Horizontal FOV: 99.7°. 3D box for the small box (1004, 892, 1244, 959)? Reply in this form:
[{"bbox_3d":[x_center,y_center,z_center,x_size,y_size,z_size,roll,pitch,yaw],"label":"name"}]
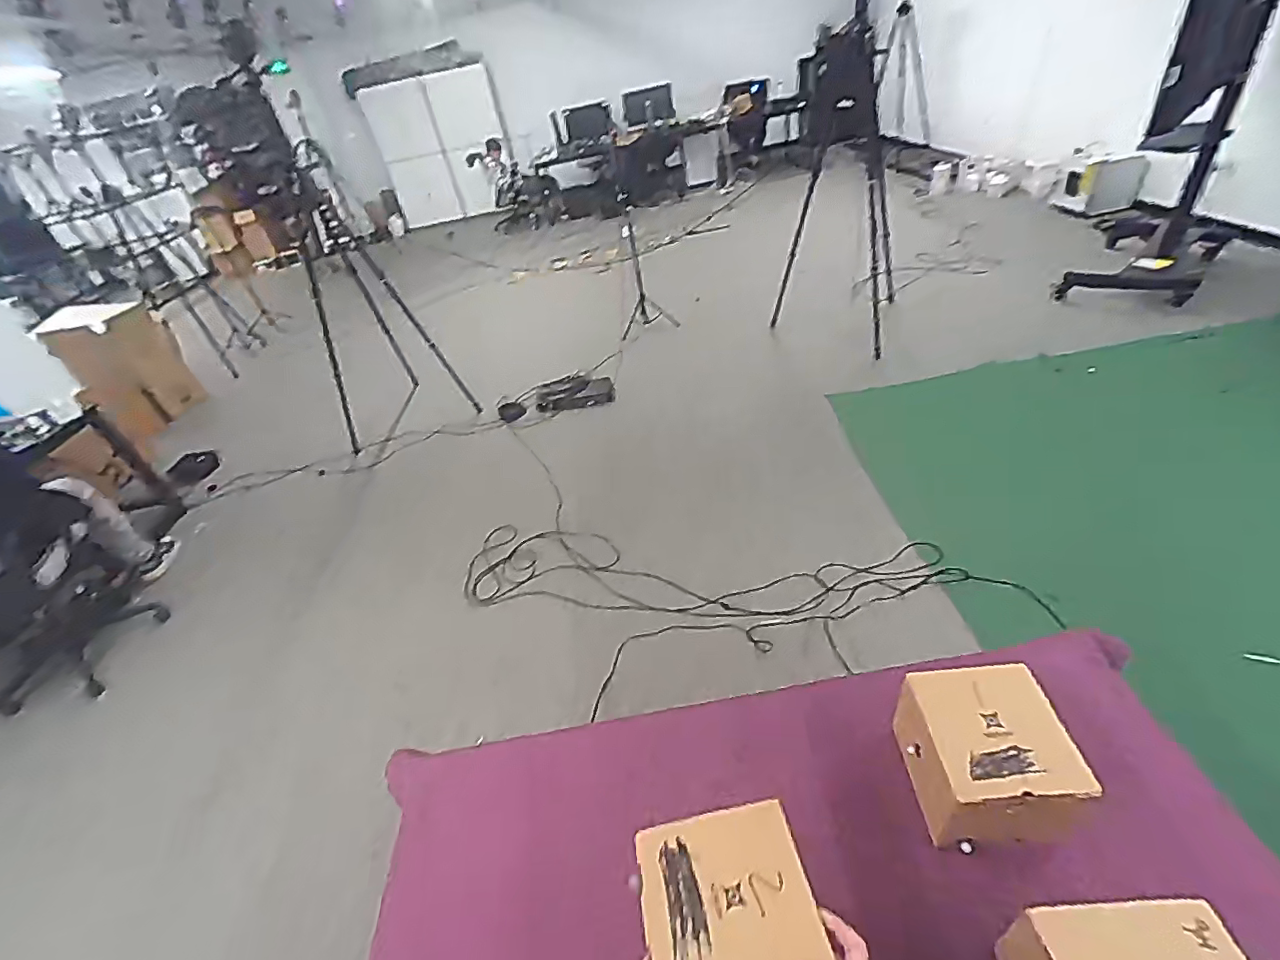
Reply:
[{"bbox_3d":[0.502,0.545,0.546,0.179,0.176,0.168,-9,37,7],"label":"small box"}]

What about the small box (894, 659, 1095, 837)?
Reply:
[{"bbox_3d":[0.475,0.380,0.760,0.168,0.176,0.179,-7,38,7],"label":"small box"}]
